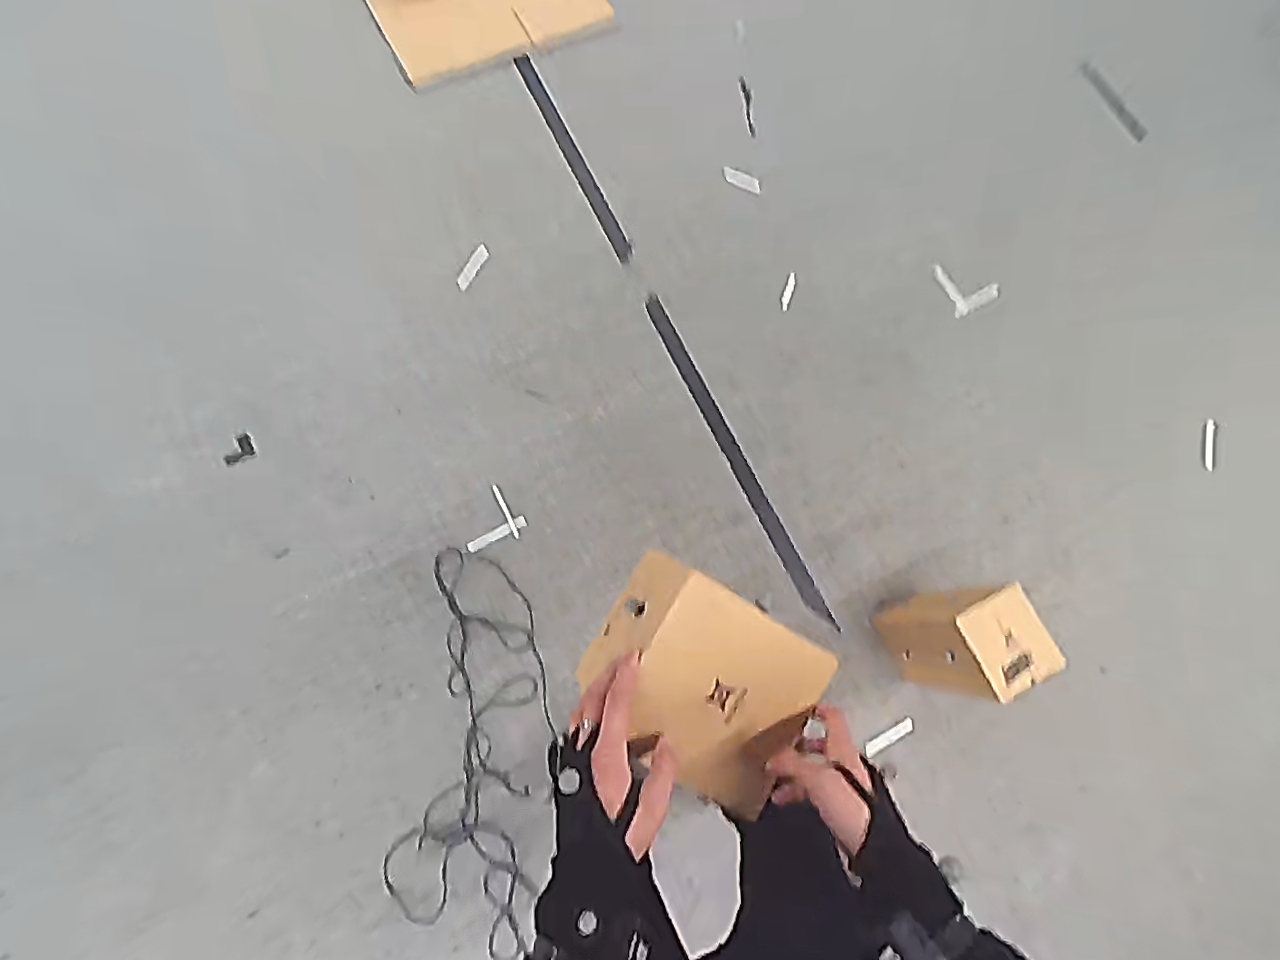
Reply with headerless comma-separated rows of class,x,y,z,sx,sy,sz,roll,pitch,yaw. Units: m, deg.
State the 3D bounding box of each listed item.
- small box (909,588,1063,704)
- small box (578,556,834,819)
small box,0.714,0.341,1.136,0.168,0.176,0.179,-24,78,-11
small box,0.052,0.192,0.556,0.179,0.176,0.168,33,83,-11
